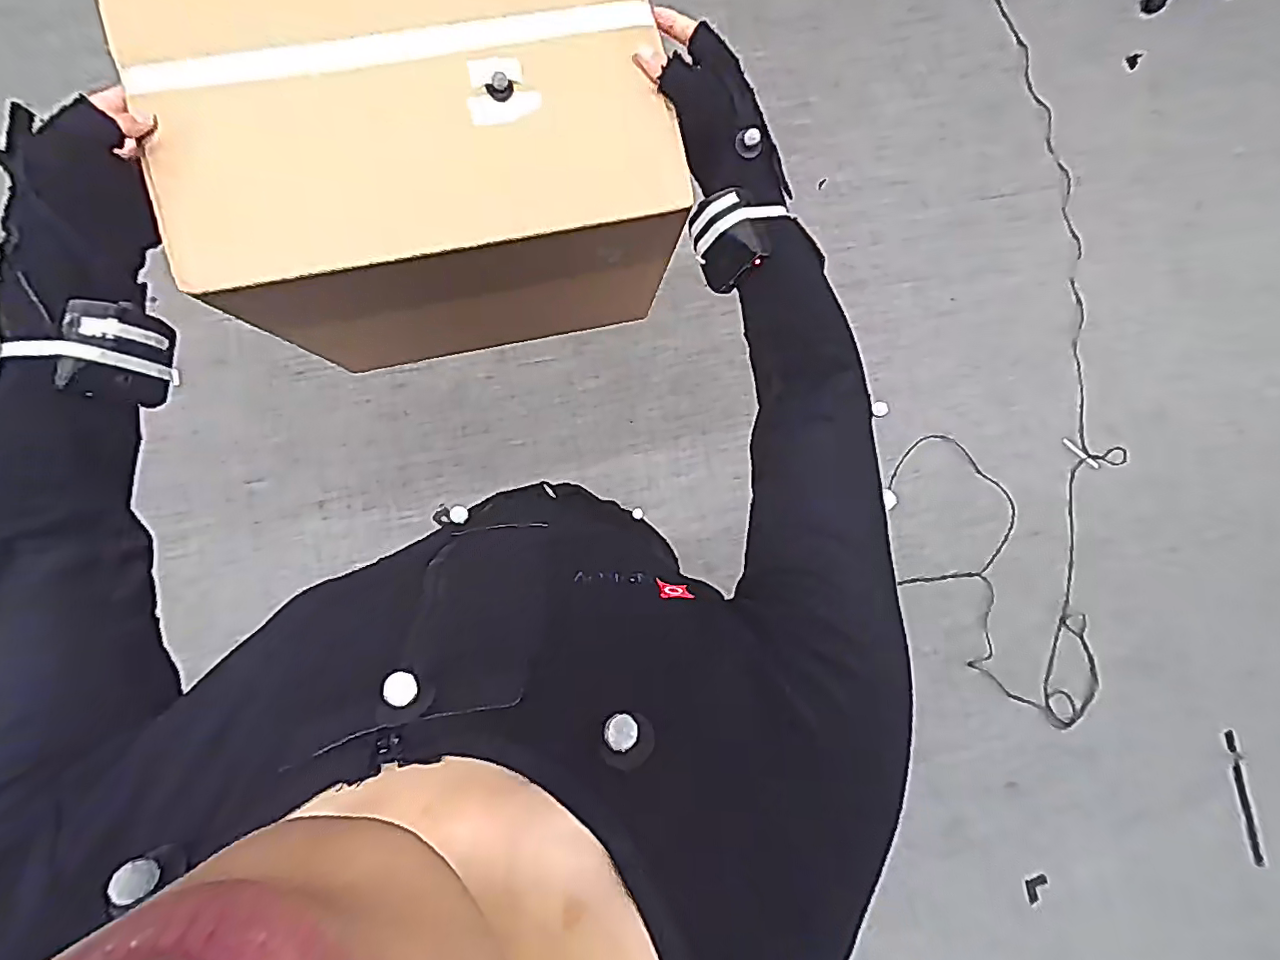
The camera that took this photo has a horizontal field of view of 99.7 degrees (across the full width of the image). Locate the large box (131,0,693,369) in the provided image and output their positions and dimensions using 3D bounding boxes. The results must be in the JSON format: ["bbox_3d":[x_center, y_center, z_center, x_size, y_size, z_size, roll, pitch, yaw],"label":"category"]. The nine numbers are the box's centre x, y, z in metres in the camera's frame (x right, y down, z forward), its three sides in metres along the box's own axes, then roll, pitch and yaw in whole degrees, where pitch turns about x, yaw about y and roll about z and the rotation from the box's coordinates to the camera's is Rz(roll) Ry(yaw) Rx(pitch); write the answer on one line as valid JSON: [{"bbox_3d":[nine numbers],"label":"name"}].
[{"bbox_3d":[-0.198,-0.340,0.583,0.408,0.320,0.320,-14,92,-7],"label":"large box"}]
